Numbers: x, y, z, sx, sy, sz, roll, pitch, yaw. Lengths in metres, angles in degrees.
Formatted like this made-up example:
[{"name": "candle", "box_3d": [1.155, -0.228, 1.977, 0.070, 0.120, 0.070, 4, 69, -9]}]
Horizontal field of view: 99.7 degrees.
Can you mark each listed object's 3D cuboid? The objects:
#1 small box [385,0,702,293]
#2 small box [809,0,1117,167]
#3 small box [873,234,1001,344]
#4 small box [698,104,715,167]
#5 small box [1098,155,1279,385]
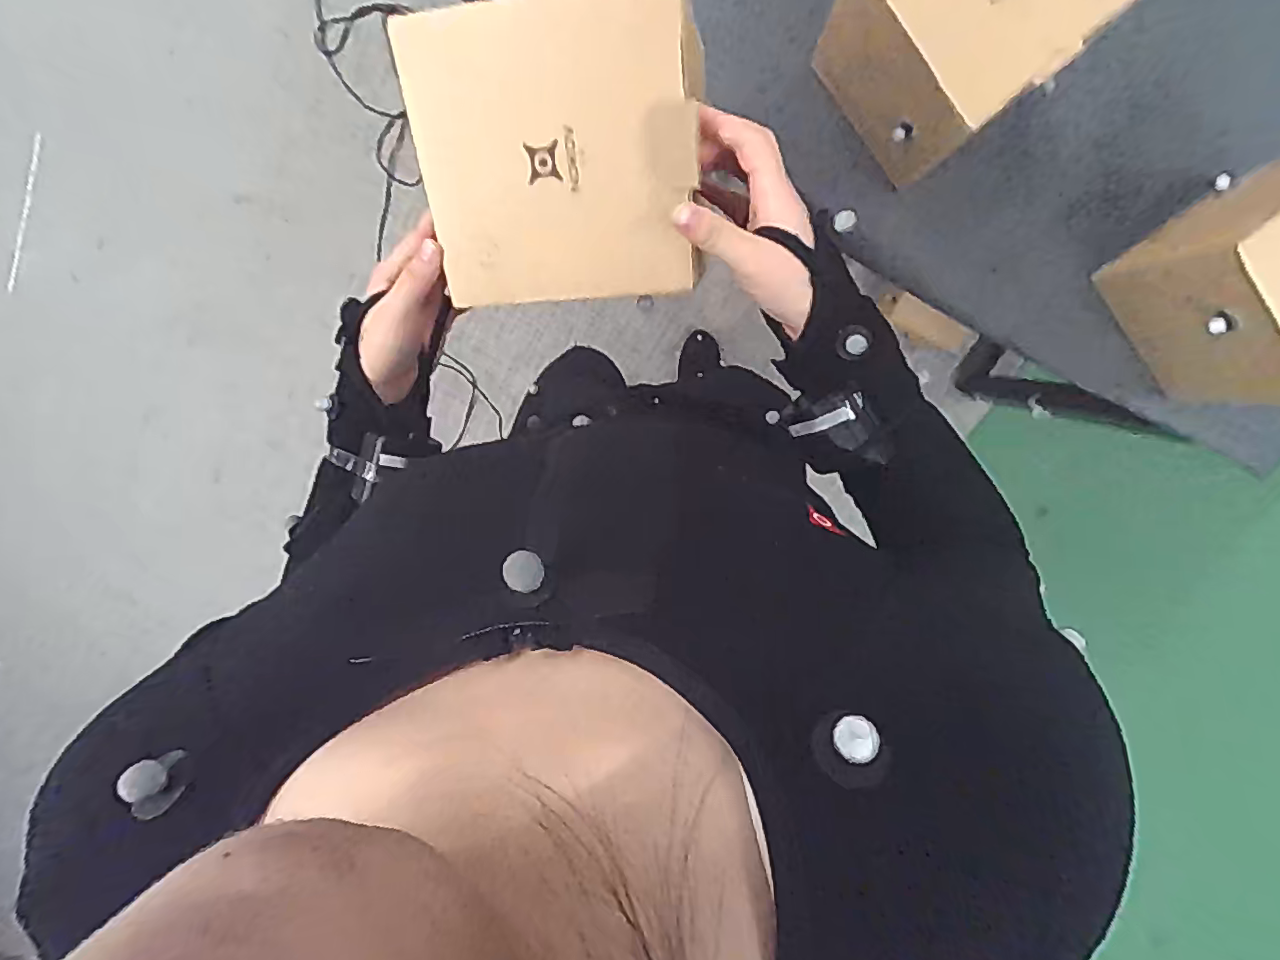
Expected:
[{"name": "small box", "box_3d": [-0.047, -0.239, 0.405, 0.179, 0.176, 0.168, -1, 116, 9]}, {"name": "small box", "box_3d": [0.289, -0.433, 0.511, 0.168, 0.176, 0.179, -38, 96, 11]}, {"name": "small box", "box_3d": [0.654, -0.423, 1.224, 0.168, 0.176, 0.179, 26, 106, -1]}, {"name": "small box", "box_3d": [0.050, -0.766, 1.214, 0.179, 0.176, 0.168, 43, 106, -5]}, {"name": "small box", "box_3d": [0.612, -0.203, 0.525, 0.168, 0.176, 0.179, -37, 96, 12]}]
